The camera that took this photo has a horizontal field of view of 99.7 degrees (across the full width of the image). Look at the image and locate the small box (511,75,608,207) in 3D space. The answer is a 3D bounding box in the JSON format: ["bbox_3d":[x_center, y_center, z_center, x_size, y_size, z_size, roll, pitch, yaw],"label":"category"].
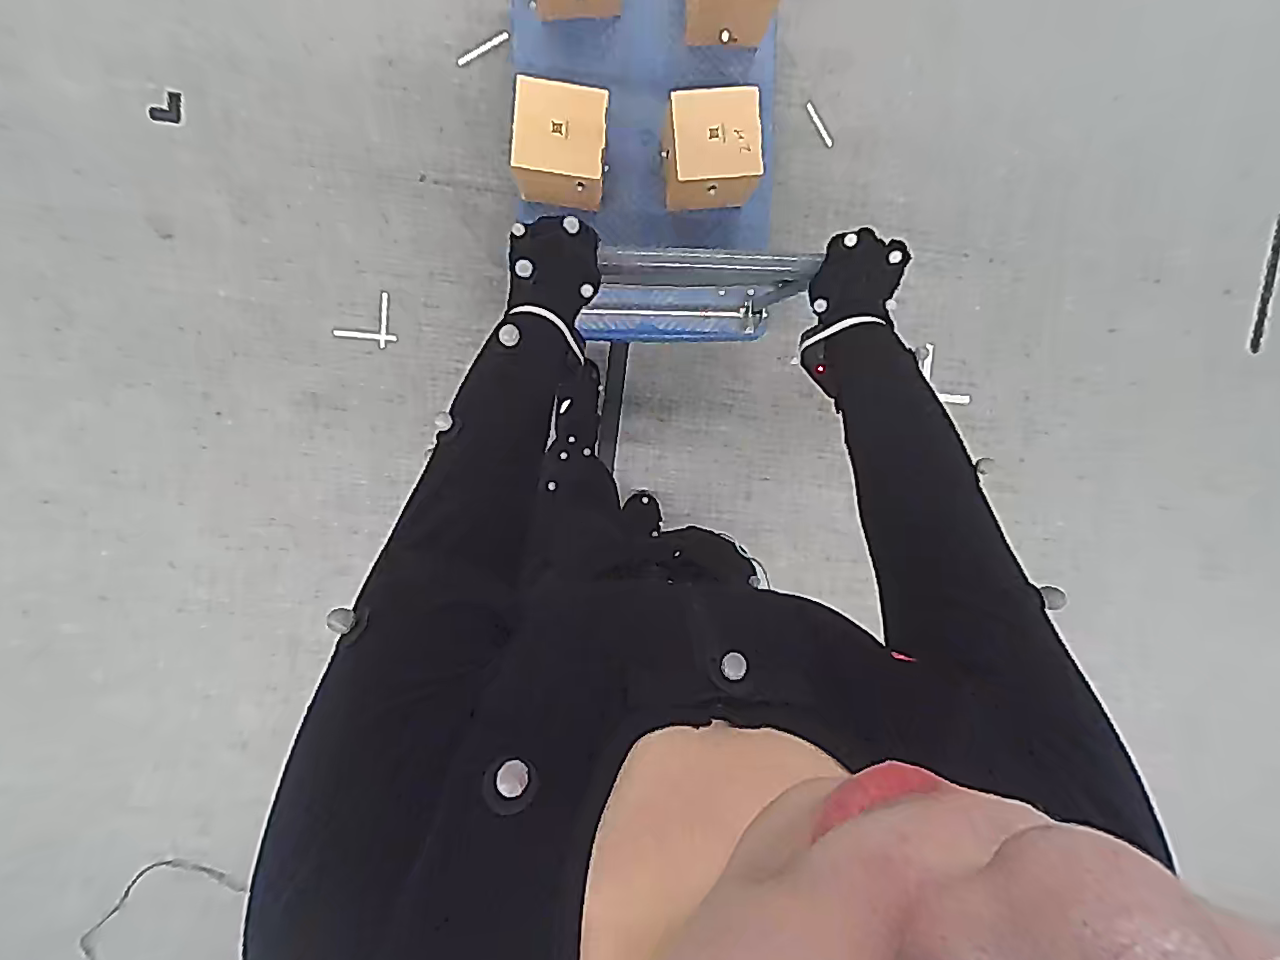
[{"bbox_3d":[-0.163,-0.686,1.116,0.179,0.176,0.168,5,96,-7],"label":"small box"}]

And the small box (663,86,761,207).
[{"bbox_3d":[0.144,-0.692,1.140,0.179,0.176,0.168,-6,98,-4],"label":"small box"}]

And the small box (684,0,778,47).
[{"bbox_3d":[0.183,-1.033,1.099,0.168,0.176,0.179,-2,99,-4],"label":"small box"}]
